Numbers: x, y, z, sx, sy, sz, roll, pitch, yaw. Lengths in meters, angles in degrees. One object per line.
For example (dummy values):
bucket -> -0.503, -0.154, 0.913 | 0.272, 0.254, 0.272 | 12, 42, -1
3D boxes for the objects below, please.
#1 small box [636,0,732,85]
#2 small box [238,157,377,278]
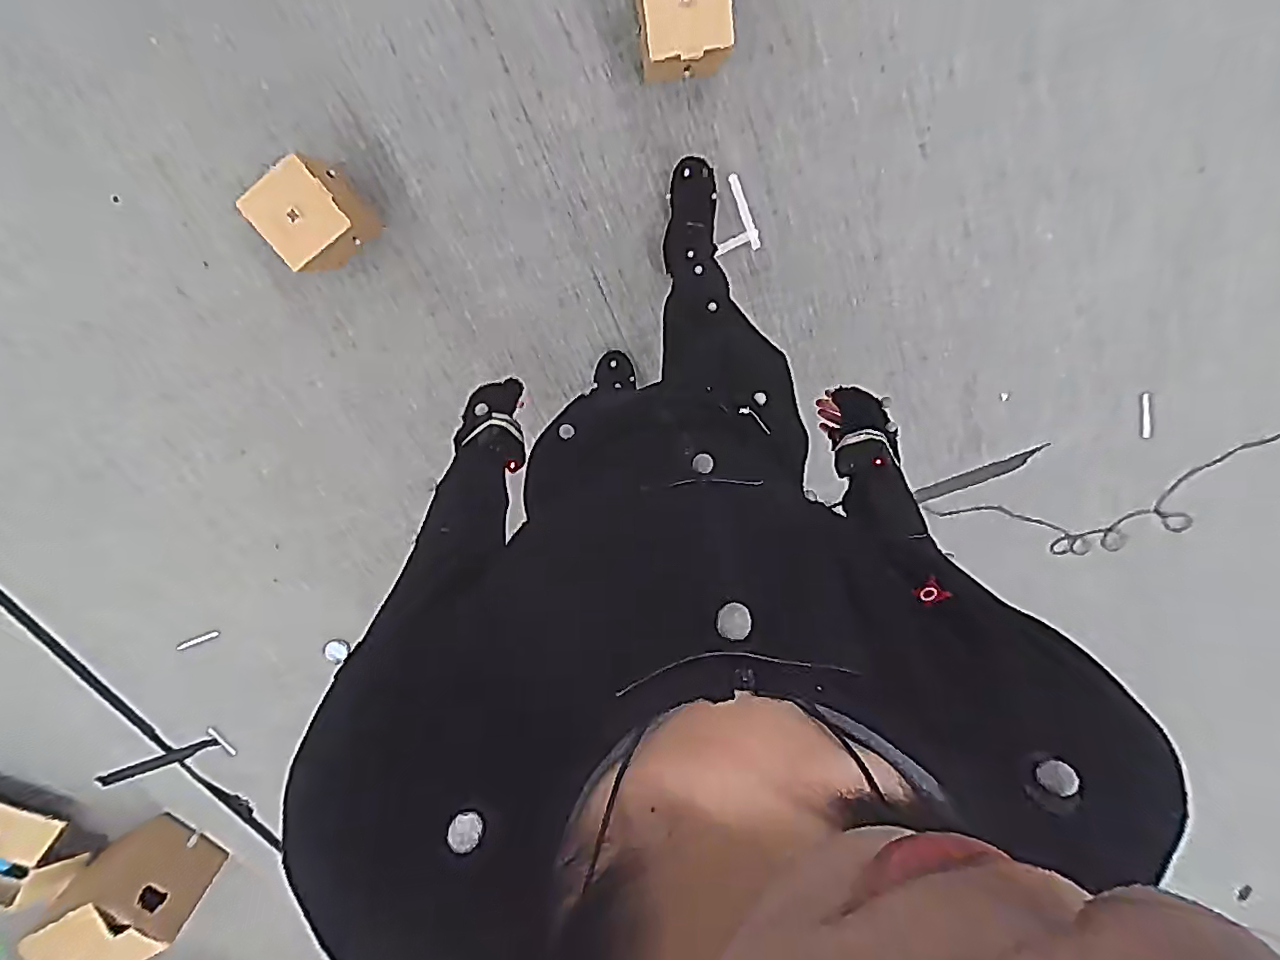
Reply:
small box -> 0.084, -0.911, 1.073 | 0.168, 0.176, 0.179 | -9, 114, 1
small box -> -0.714, -0.571, 1.192 | 0.179, 0.176, 0.168 | -33, 109, 12
